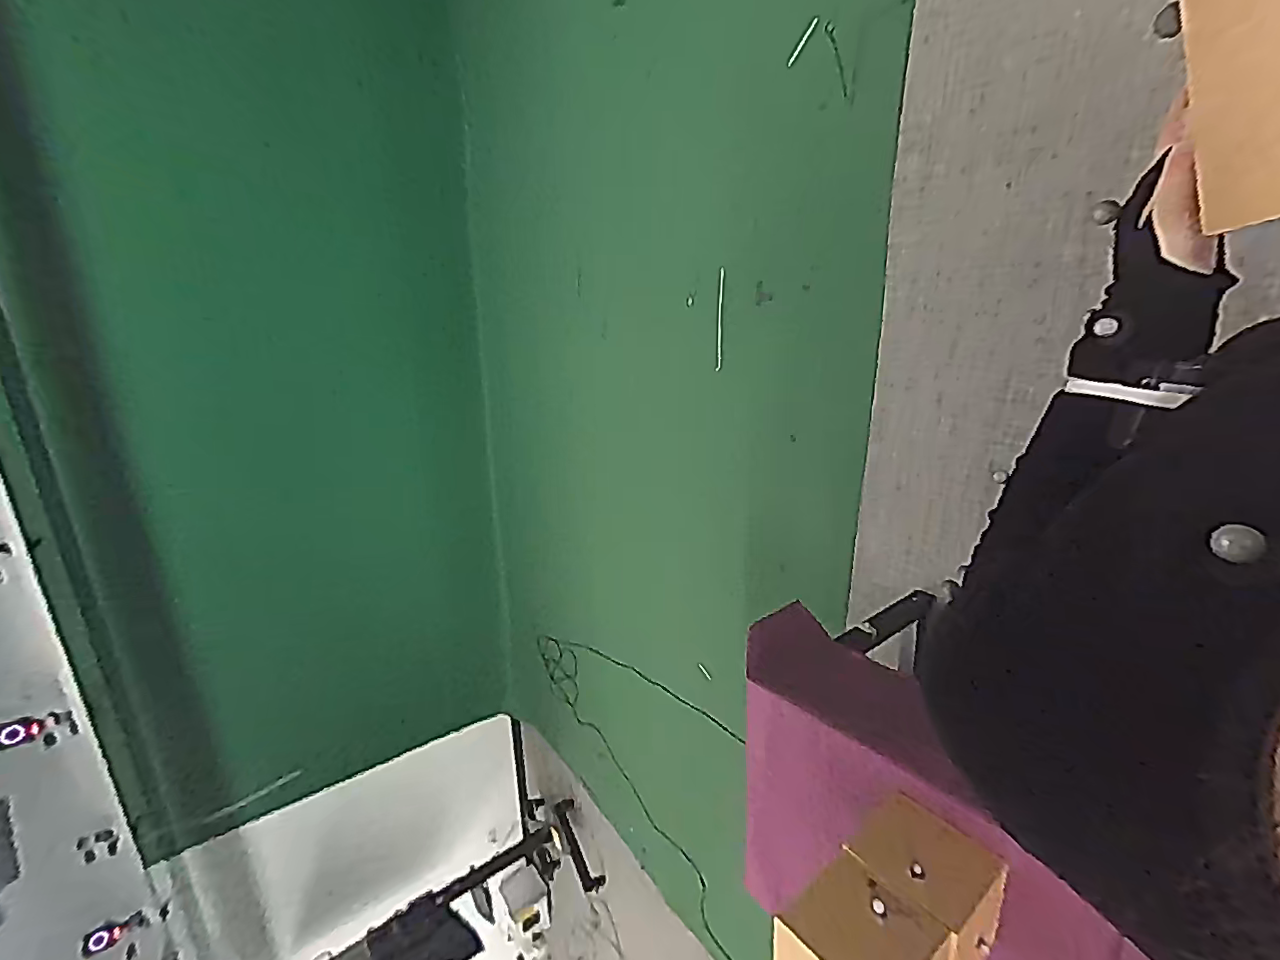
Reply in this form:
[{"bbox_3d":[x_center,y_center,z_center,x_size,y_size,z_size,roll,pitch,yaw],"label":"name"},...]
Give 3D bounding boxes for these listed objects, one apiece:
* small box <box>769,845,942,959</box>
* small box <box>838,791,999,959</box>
[{"bbox_3d":[0.301,0.678,0.761,0.168,0.176,0.179,14,111,51],"label":"small box"},{"bbox_3d":[0.433,0.641,0.854,0.179,0.176,0.168,19,115,51],"label":"small box"}]
